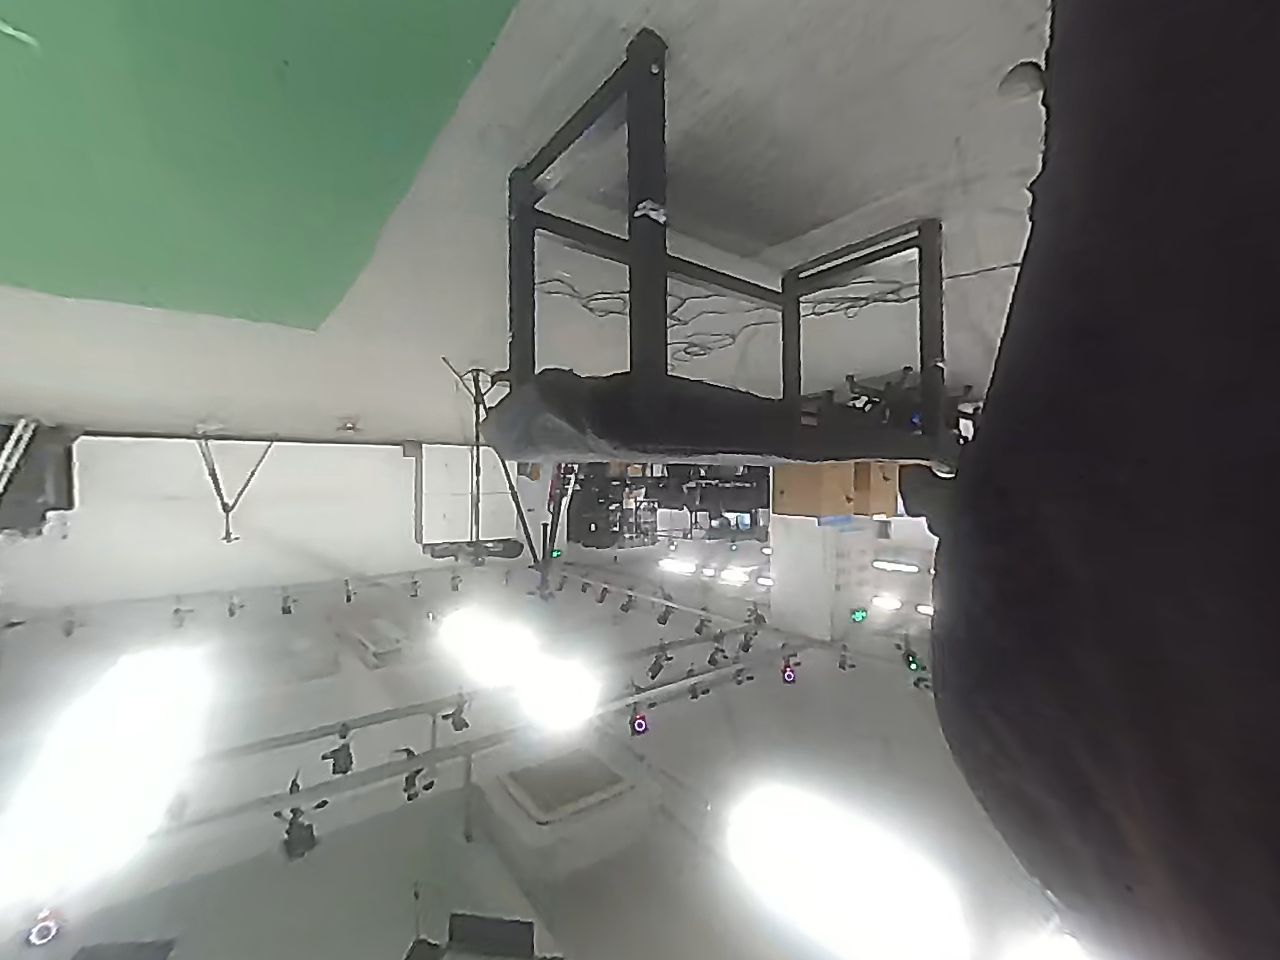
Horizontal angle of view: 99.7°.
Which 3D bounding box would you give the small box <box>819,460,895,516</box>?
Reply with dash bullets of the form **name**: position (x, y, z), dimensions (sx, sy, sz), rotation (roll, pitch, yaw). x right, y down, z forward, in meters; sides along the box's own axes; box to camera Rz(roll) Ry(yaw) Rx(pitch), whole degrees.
- **small box**: position (0.706, 0.027, 1.754), dimensions (0.168, 0.176, 0.179), rotation (1, 180, -36)
